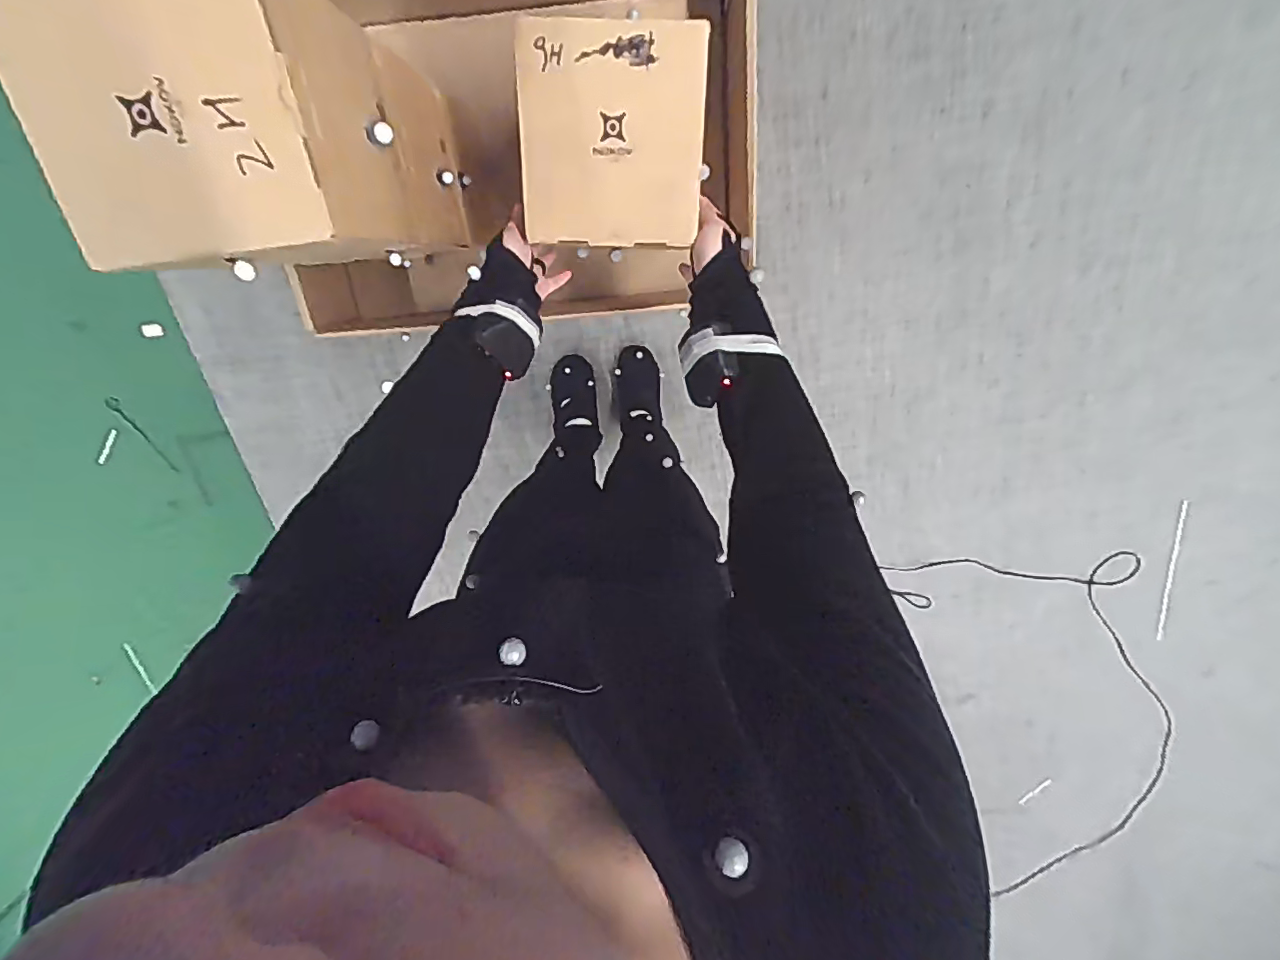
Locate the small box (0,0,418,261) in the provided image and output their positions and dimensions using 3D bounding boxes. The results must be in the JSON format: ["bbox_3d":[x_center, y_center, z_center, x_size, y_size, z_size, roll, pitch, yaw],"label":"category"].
[{"bbox_3d":[-0.301,-0.262,0.413,0.179,0.176,0.168,-6,113,1],"label":"small box"}]

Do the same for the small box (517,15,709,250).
[{"bbox_3d":[-0.025,-0.338,0.558,0.168,0.176,0.179,2,114,-1],"label":"small box"}]

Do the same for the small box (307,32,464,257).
[{"bbox_3d":[-0.306,-0.328,0.564,0.179,0.176,0.168,-6,113,0],"label":"small box"}]
